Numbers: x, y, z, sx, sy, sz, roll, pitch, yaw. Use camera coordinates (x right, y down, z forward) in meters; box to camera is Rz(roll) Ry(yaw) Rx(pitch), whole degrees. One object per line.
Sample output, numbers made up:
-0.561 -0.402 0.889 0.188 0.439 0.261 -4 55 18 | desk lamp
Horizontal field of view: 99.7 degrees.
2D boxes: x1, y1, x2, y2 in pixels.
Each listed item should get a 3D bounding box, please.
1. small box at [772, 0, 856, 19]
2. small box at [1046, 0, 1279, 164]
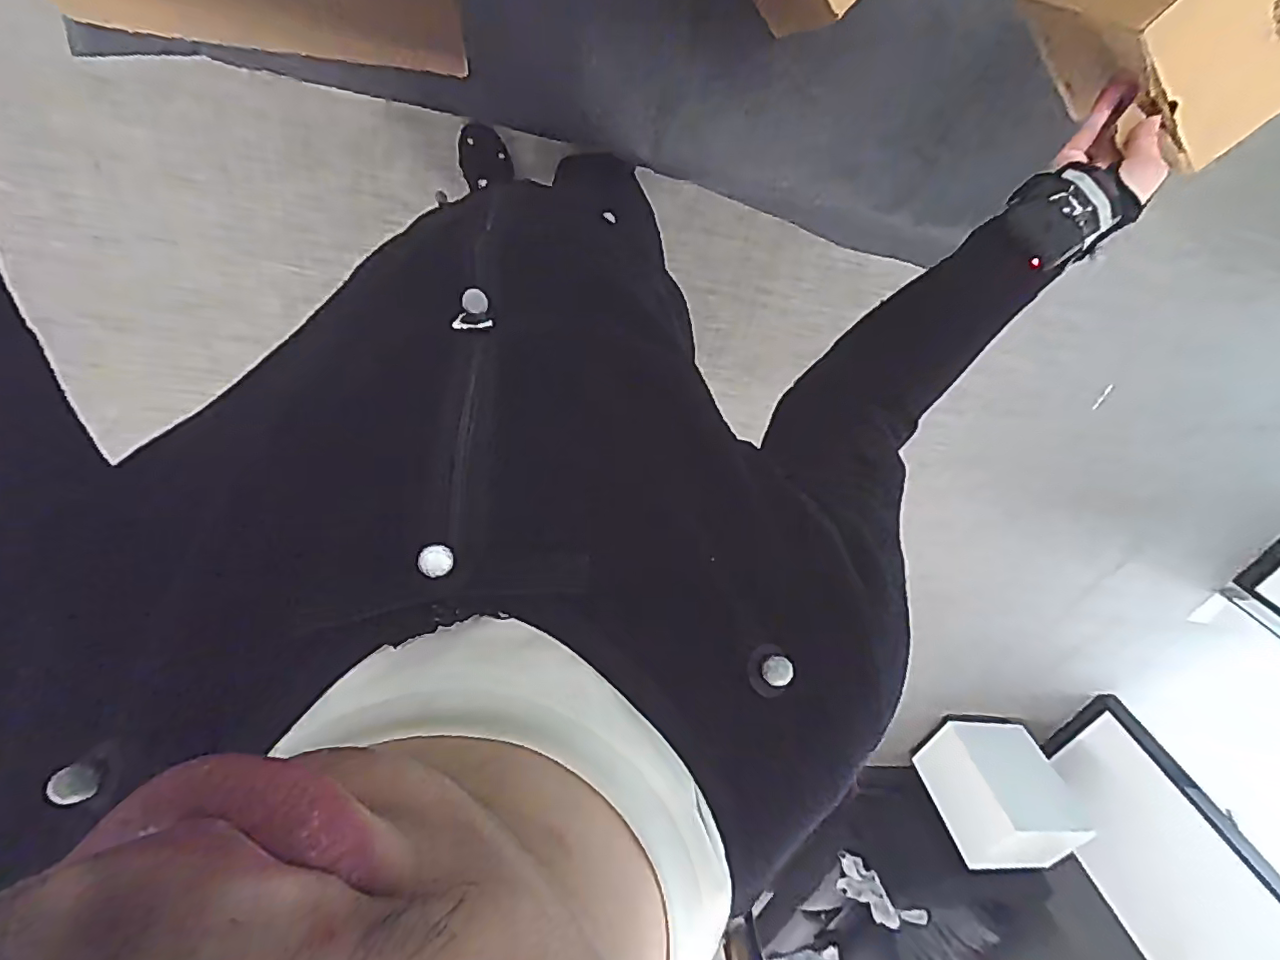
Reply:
0.168 -0.543 0.459 0.168 0.176 0.179 -37 123 21 | small box
0.476 -0.413 0.439 0.168 0.176 0.179 23 131 -33 | small box
